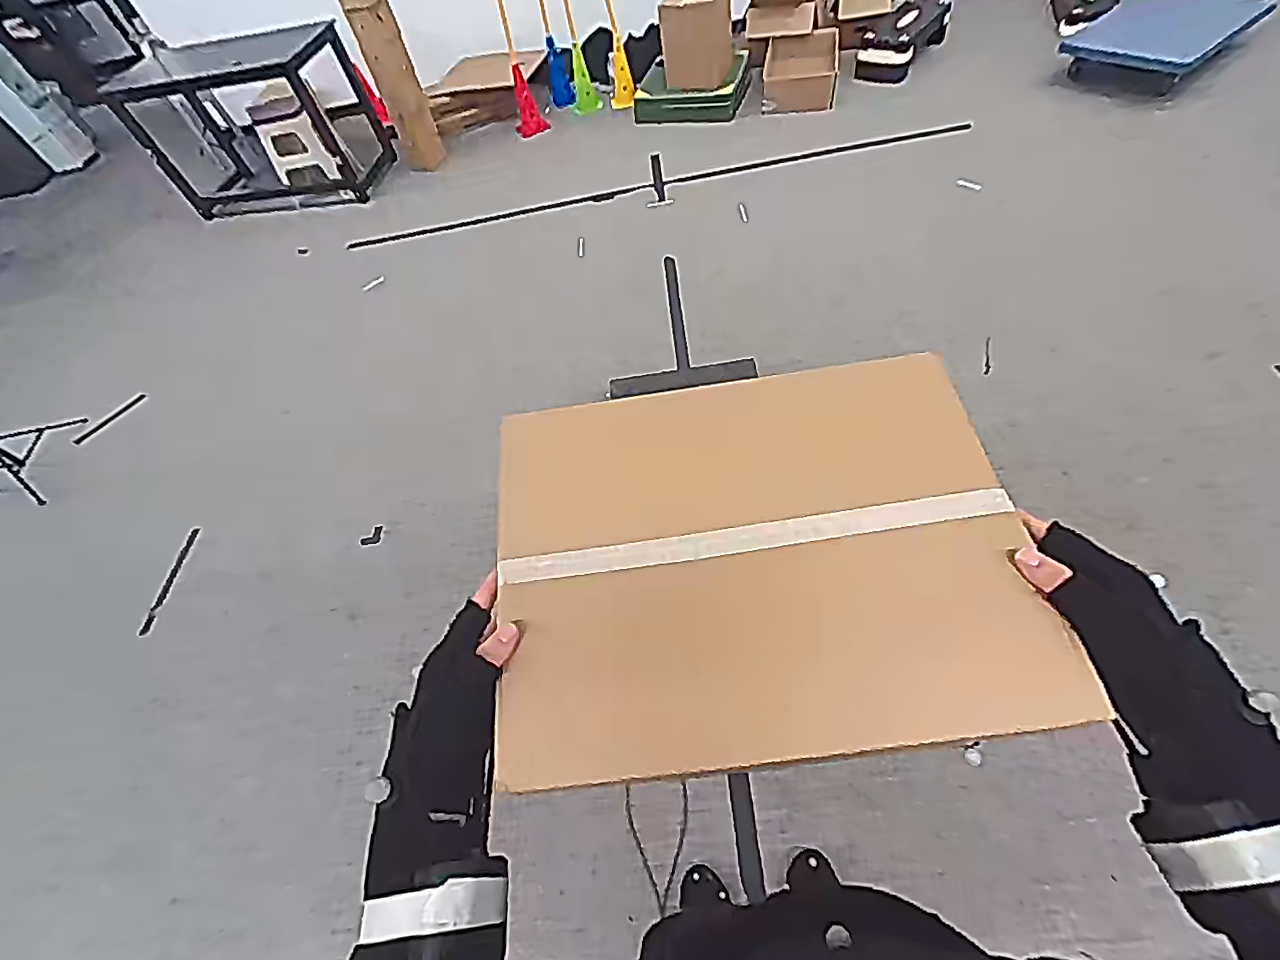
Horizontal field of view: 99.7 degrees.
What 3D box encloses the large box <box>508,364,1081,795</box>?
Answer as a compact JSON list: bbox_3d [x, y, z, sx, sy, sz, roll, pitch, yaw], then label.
[{"bbox_3d":[0.105,0.124,0.571,0.408,0.320,0.320,-9,60,3],"label":"large box"}]
